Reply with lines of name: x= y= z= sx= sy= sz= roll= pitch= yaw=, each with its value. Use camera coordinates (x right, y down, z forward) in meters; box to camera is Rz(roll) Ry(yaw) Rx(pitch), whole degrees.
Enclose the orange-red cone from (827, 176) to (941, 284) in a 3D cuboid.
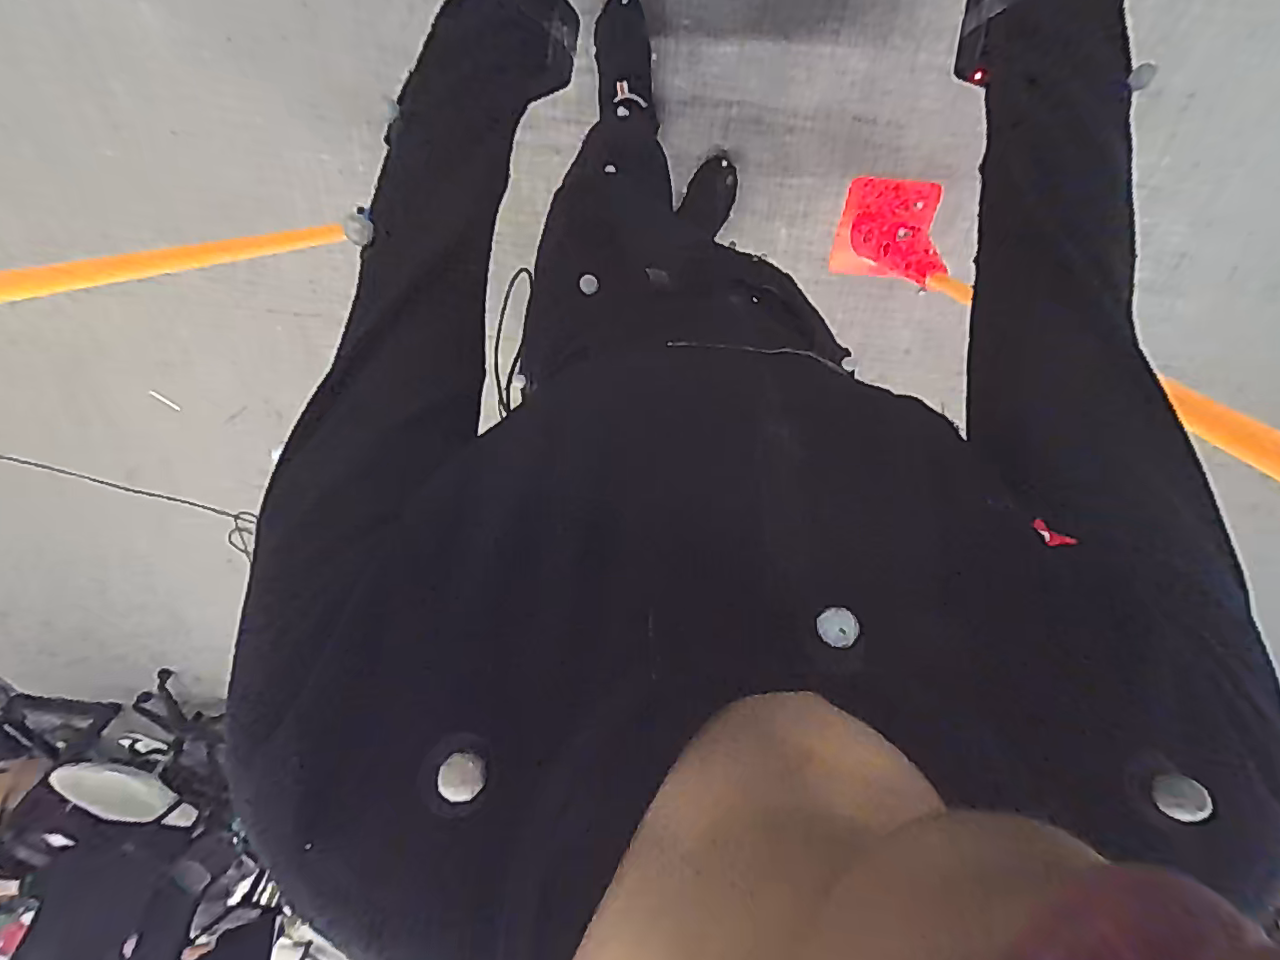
orange-red cone: x=0.527 y=-0.468 z=1.091 sx=0.199 sy=0.360 sz=0.198 roll=8 pitch=127 yaw=2
